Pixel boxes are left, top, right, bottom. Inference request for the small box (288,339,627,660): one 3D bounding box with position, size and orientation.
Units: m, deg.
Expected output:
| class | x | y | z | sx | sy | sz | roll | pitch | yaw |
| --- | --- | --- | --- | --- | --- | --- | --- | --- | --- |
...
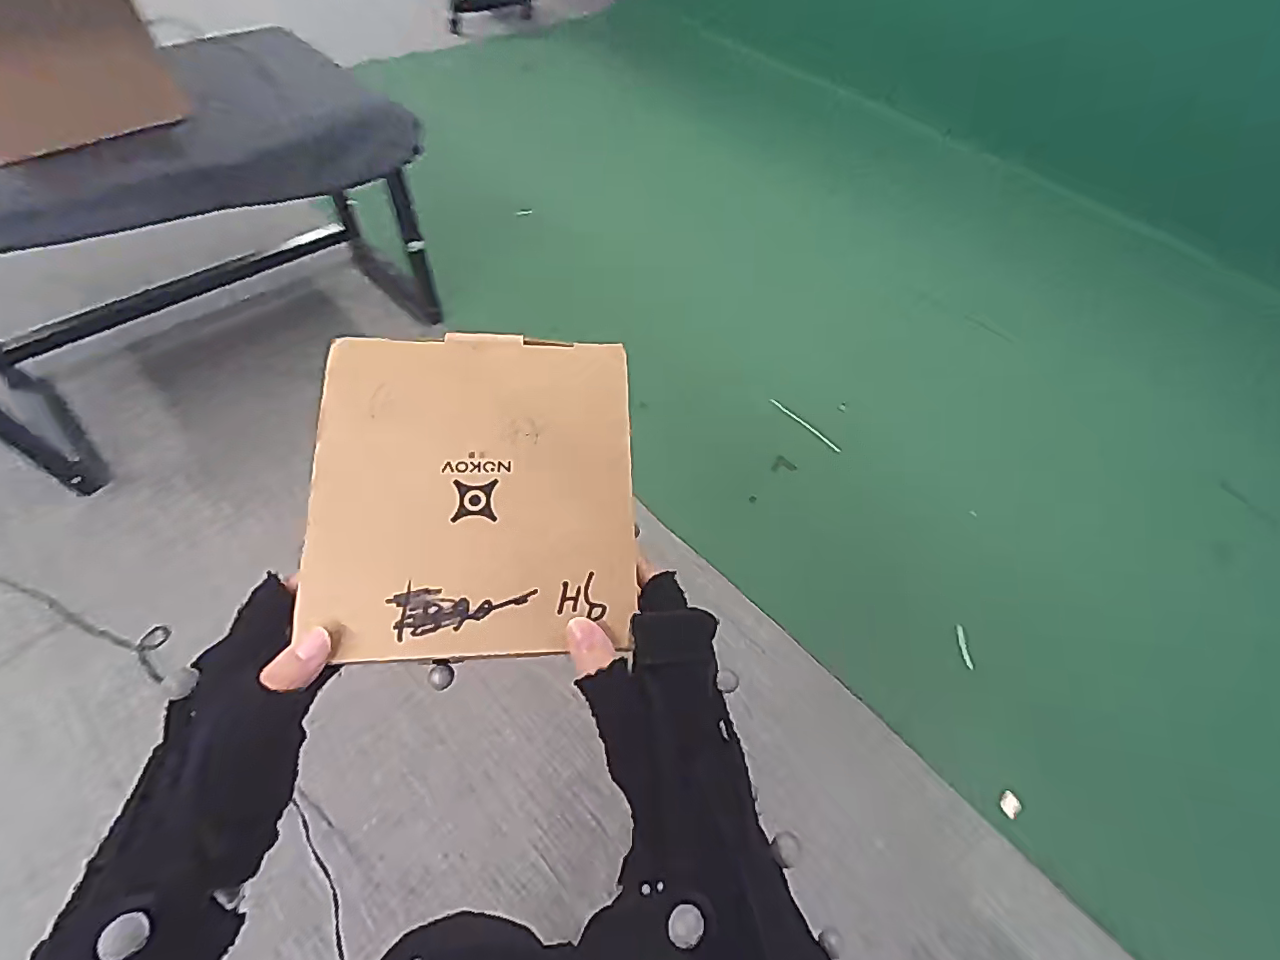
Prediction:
| class | x | y | z | sx | sy | sz | roll | pitch | yaw |
| --- | --- | --- | --- | --- | --- | --- | --- | --- | --- |
| small box | -0.101 | 0.025 | 0.369 | 0.168 | 0.176 | 0.179 | -2 | 71 | -7 |
